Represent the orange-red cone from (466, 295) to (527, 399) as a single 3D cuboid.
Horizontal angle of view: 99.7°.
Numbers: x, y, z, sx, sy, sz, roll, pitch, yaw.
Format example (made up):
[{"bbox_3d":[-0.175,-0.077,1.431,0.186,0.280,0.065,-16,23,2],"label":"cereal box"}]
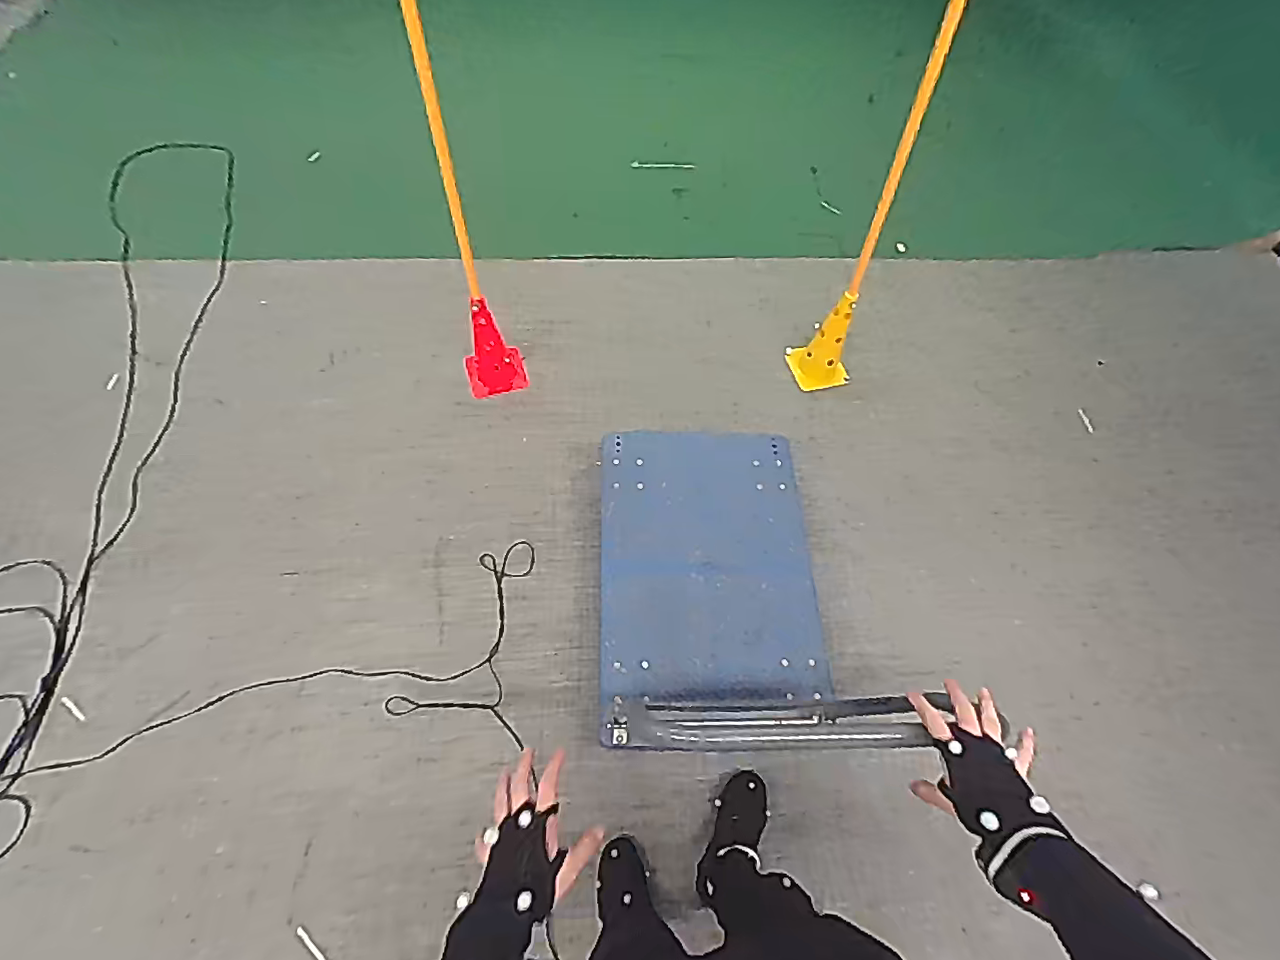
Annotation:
[{"bbox_3d":[-0.509,-0.463,1.790,0.199,0.360,0.198,-16,63,-10],"label":"orange-red cone"}]
